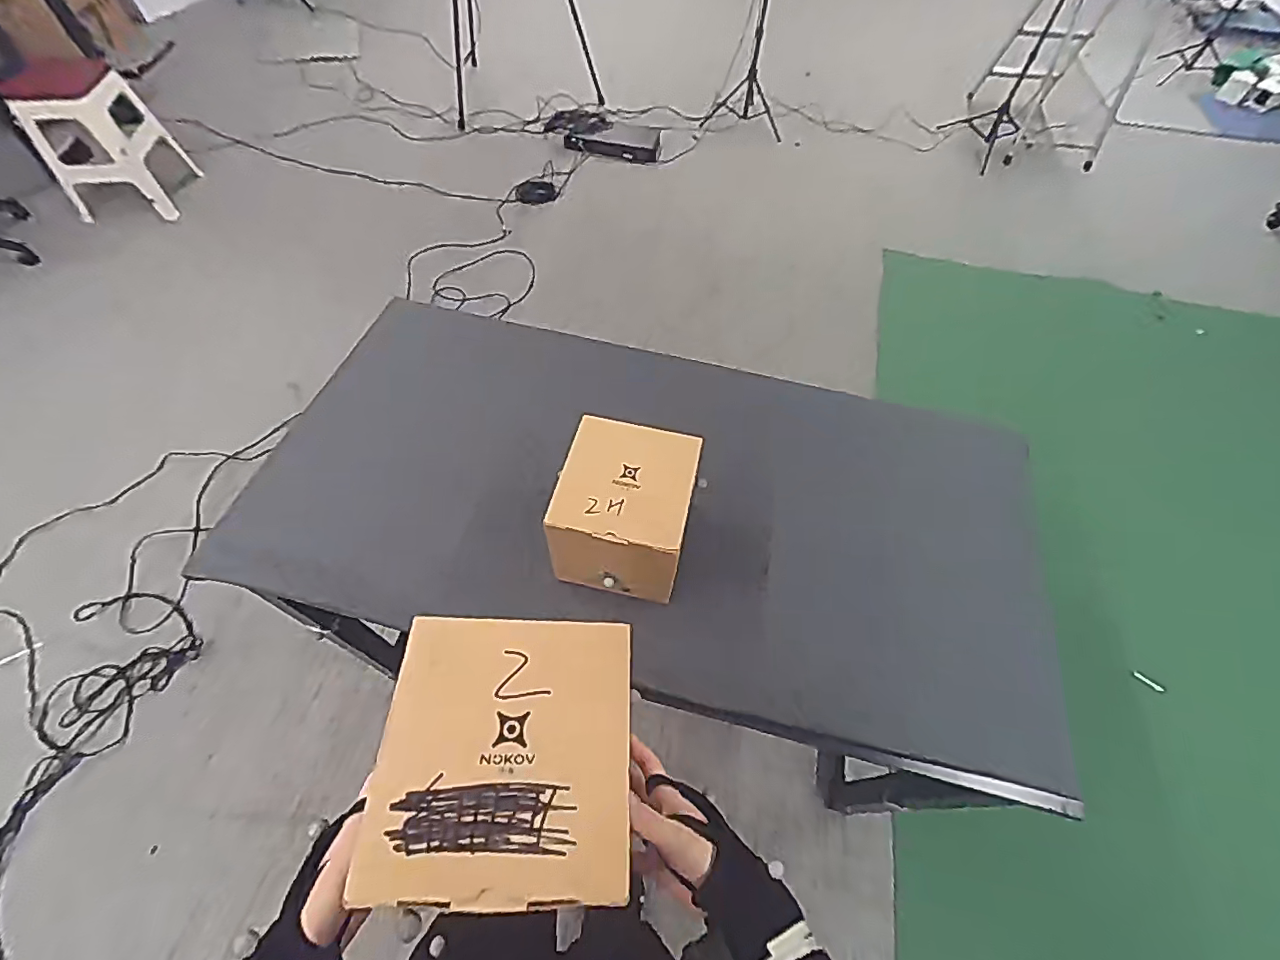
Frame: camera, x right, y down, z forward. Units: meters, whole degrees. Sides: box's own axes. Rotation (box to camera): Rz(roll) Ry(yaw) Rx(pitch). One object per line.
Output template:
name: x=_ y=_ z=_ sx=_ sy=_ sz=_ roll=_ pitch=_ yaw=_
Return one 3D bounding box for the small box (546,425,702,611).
small box: x=-0.019 y=0.055 z=0.745 sx=0.168 sy=0.176 sz=0.179 roll=12 pitch=57 yaw=6
